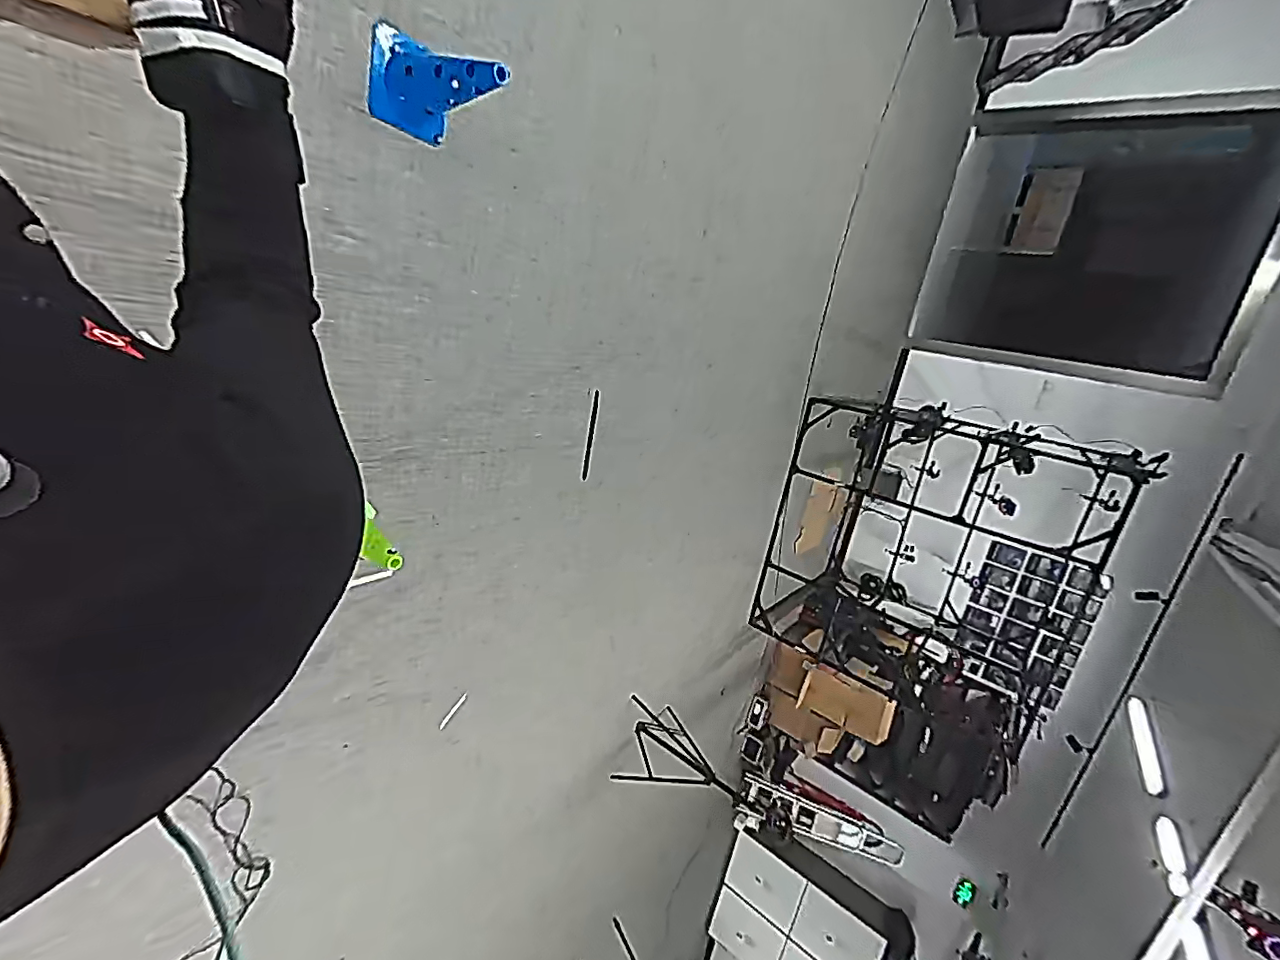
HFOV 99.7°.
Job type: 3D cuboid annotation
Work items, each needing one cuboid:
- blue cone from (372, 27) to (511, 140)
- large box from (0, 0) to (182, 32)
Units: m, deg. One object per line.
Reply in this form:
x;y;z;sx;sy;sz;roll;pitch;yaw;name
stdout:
-0.444;-0.932;1.263;0.192;0.380;0.193;-5;112;-55;blue cone
-0.507;-0.469;0.233;0.408;0.320;0.320;-13;127;-51;large box
